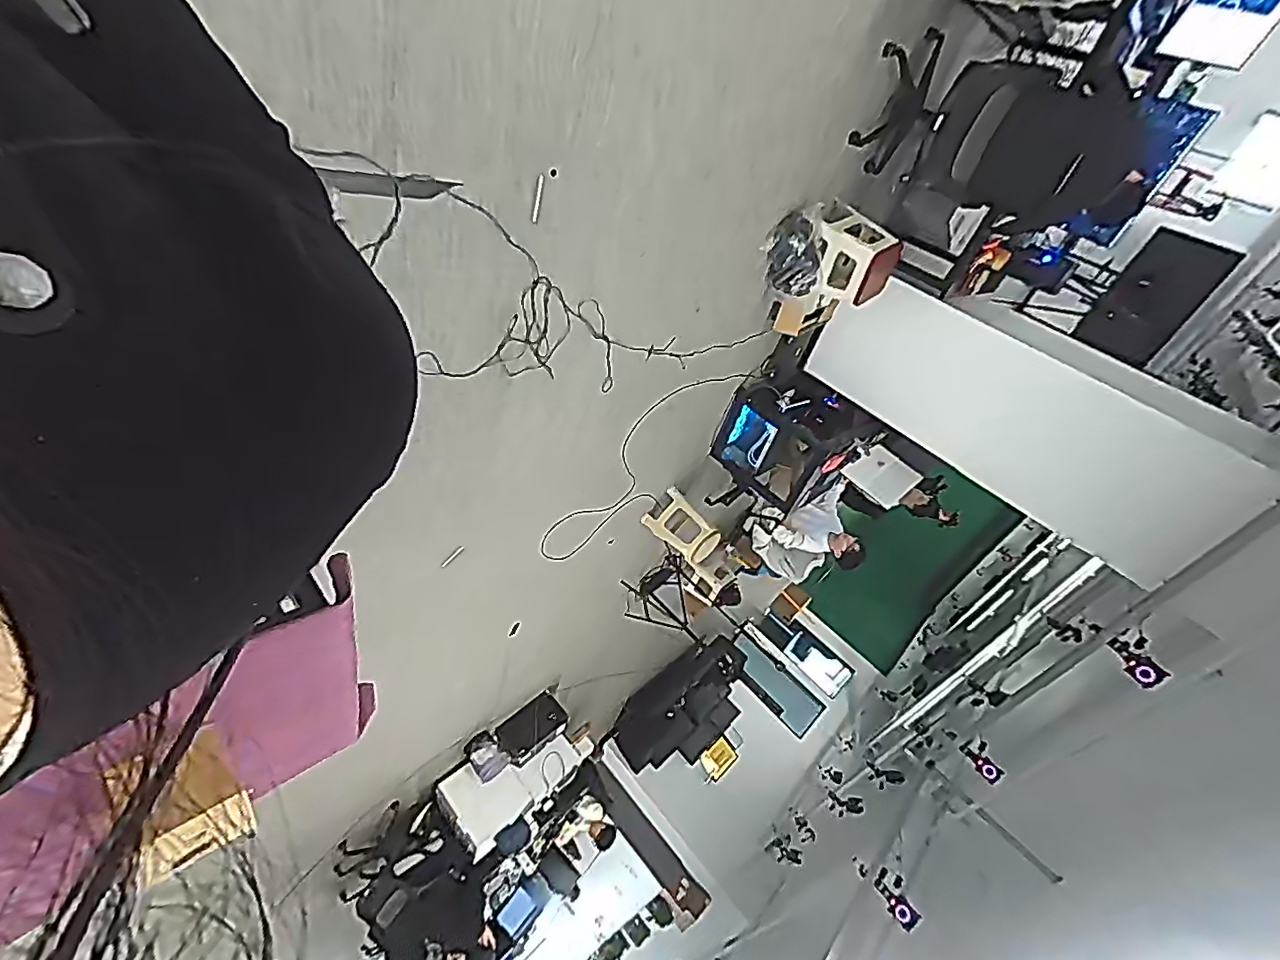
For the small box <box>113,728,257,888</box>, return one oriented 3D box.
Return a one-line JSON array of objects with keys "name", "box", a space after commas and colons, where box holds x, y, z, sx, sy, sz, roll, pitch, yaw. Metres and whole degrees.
[{"name": "small box", "box": [-0.863, 0.617, 1.034, 0.168, 0.176, 0.179, -21, 143, -44]}]
